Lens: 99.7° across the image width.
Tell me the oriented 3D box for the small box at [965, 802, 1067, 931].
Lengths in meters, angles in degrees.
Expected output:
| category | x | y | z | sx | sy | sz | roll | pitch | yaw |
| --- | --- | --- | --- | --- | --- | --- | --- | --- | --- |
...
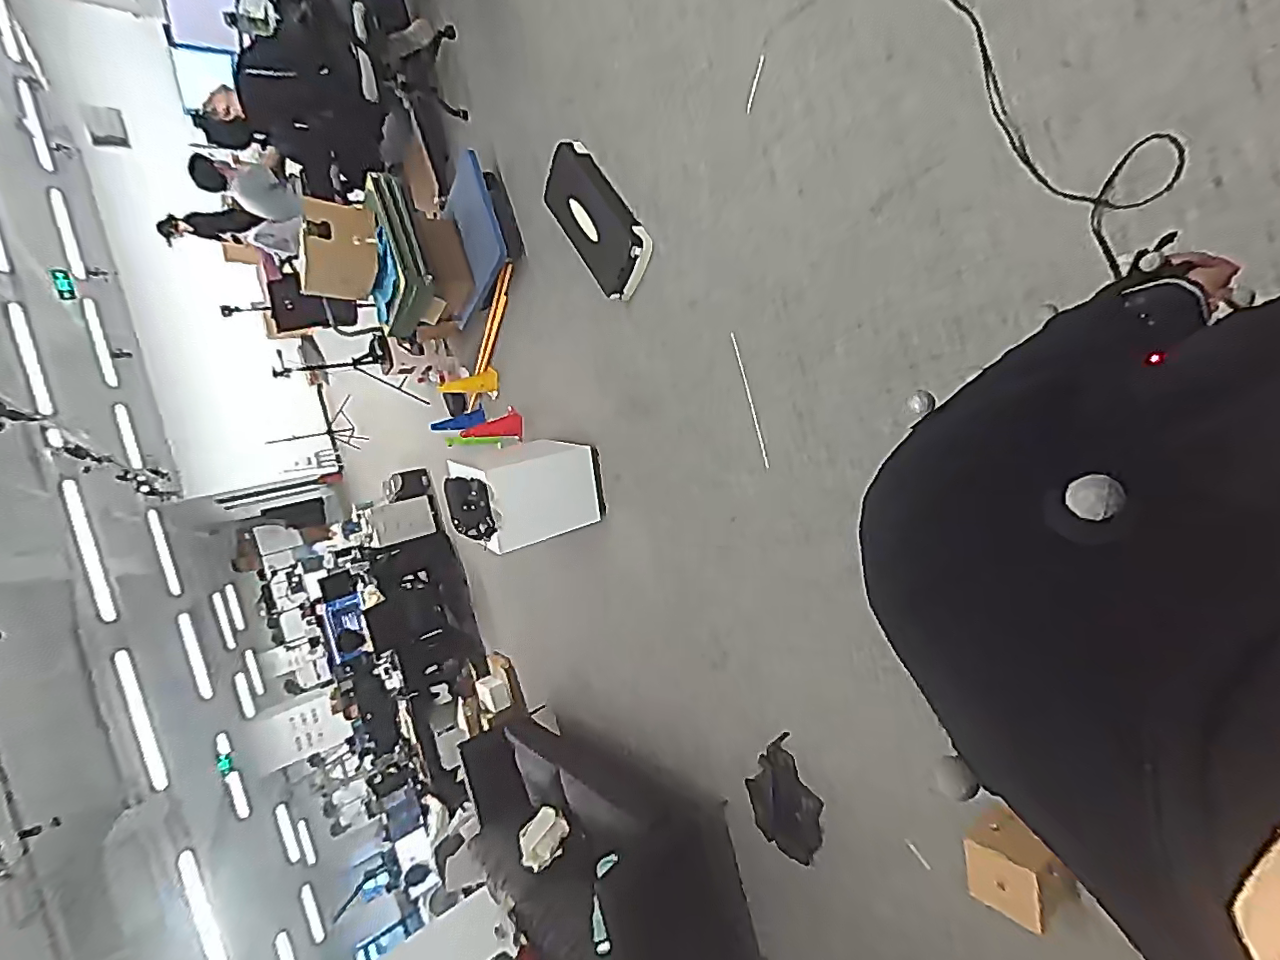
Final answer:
| category | x | y | z | sx | sy | sz | roll | pitch | yaw |
| --- | --- | --- | --- | --- | --- | --- | --- | --- | --- |
| small box | 0.969 | 0.981 | 1.393 | 0.168 | 0.176 | 0.179 | 1 | 105 | 56 |
